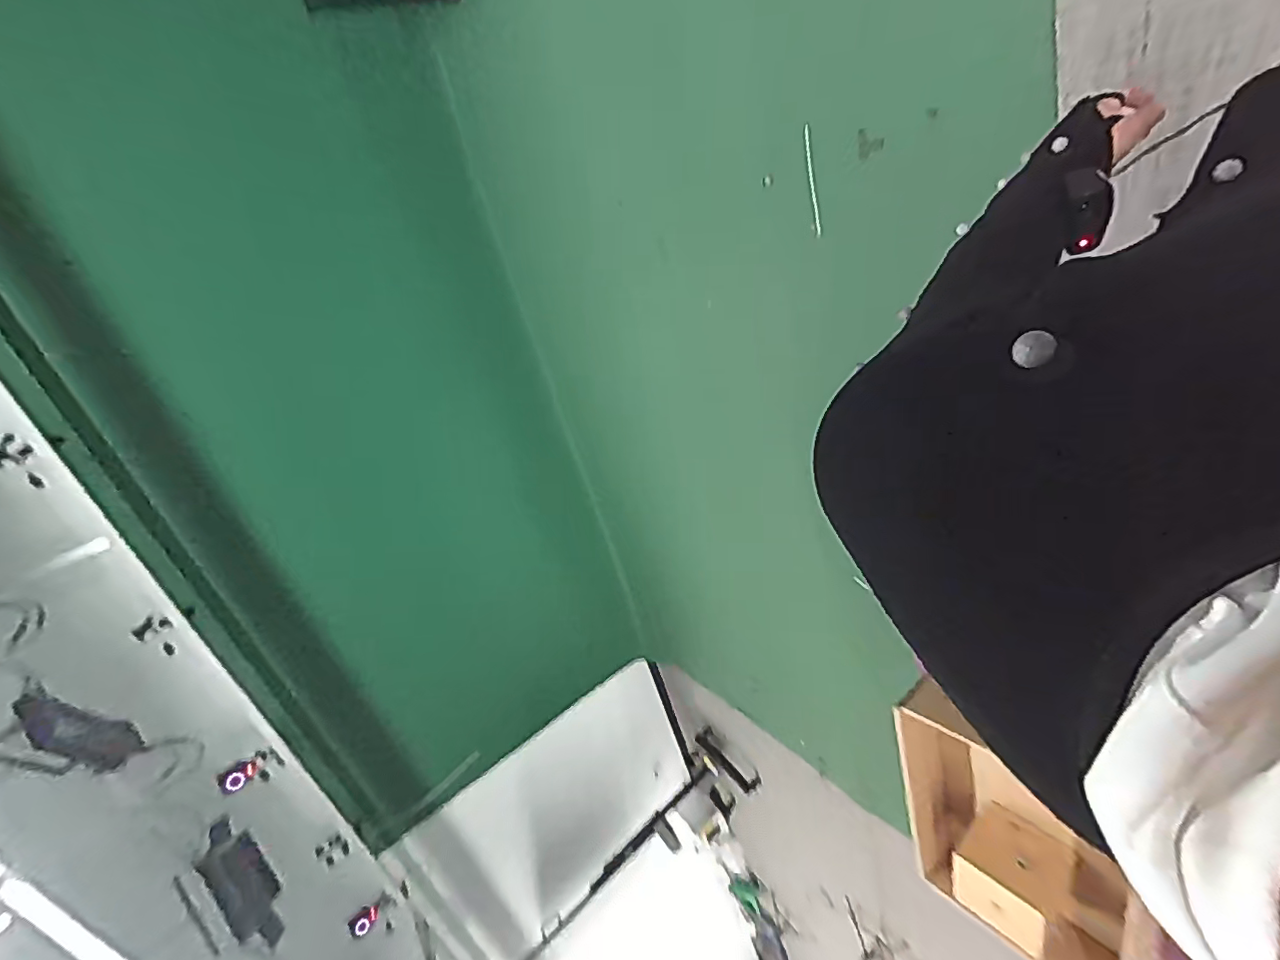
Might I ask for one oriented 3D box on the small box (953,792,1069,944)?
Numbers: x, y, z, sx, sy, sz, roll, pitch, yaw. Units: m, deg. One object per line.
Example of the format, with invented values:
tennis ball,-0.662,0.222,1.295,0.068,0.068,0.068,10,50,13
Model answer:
small box,0.809,0.835,1.183,0.168,0.176,0.179,17,131,51
